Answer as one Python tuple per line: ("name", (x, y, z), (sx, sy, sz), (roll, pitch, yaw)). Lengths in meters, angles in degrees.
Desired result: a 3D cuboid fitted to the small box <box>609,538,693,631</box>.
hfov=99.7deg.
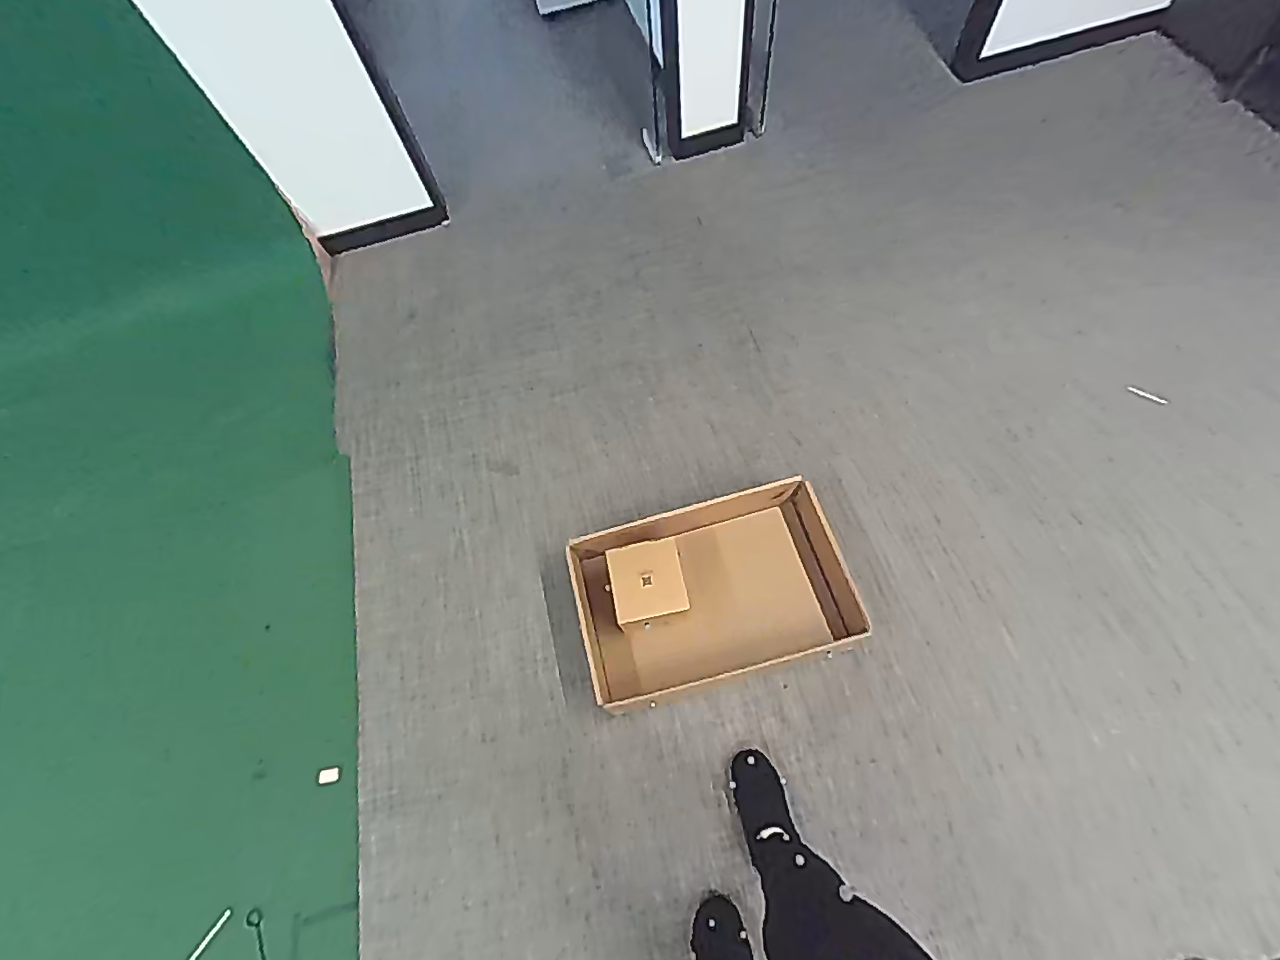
("small box", (0.031, 0.259, 1.300), (0.168, 0.176, 0.179), (-12, 65, 0))
